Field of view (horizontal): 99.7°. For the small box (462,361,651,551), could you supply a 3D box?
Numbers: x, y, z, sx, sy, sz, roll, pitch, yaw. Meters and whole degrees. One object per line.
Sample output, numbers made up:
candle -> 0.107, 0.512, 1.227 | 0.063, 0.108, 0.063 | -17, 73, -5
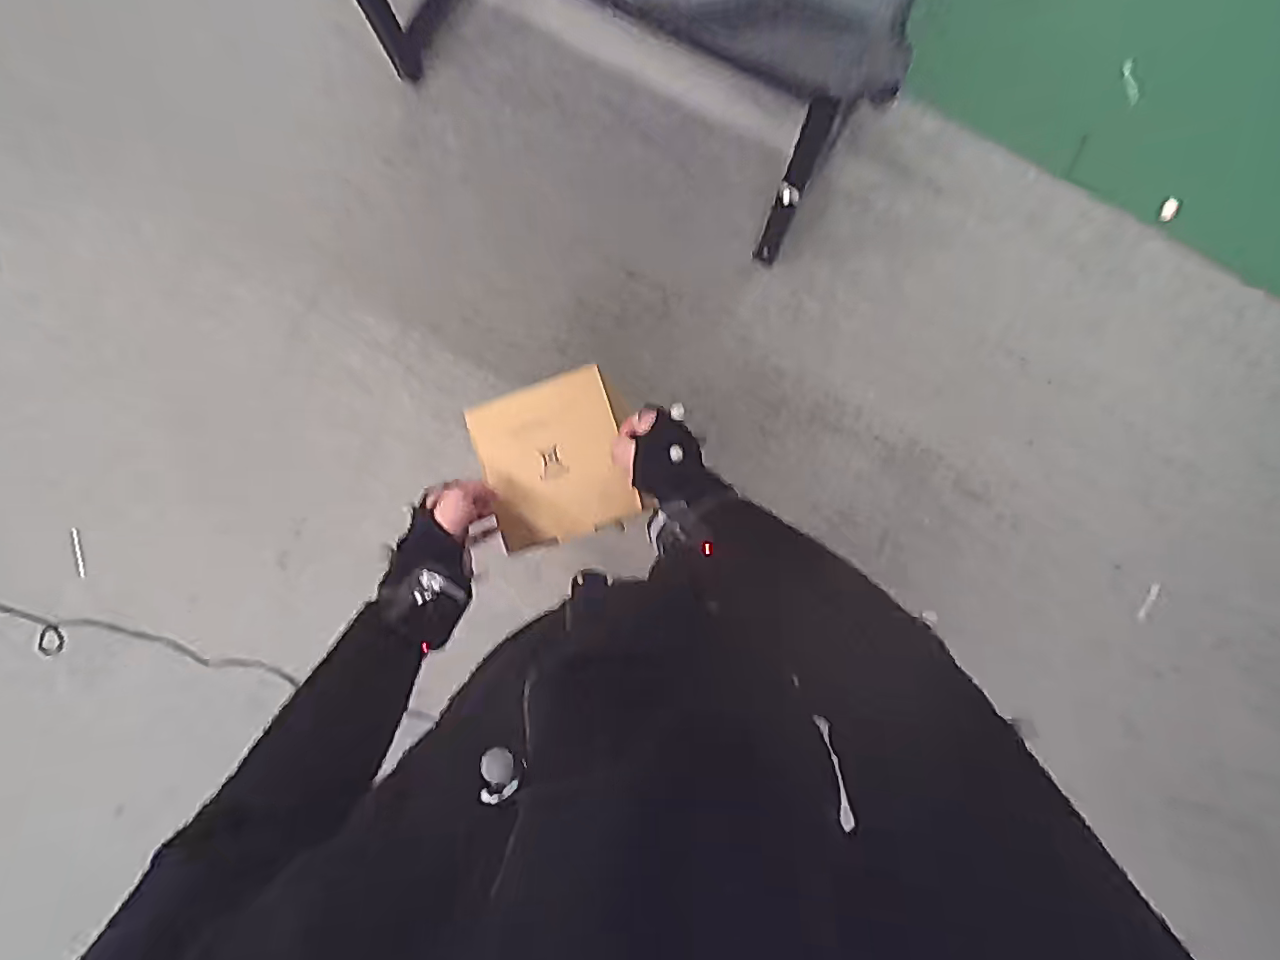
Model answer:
small box -> -0.091, -0.026, 0.681 | 0.168, 0.176, 0.179 | -19, 87, 6
